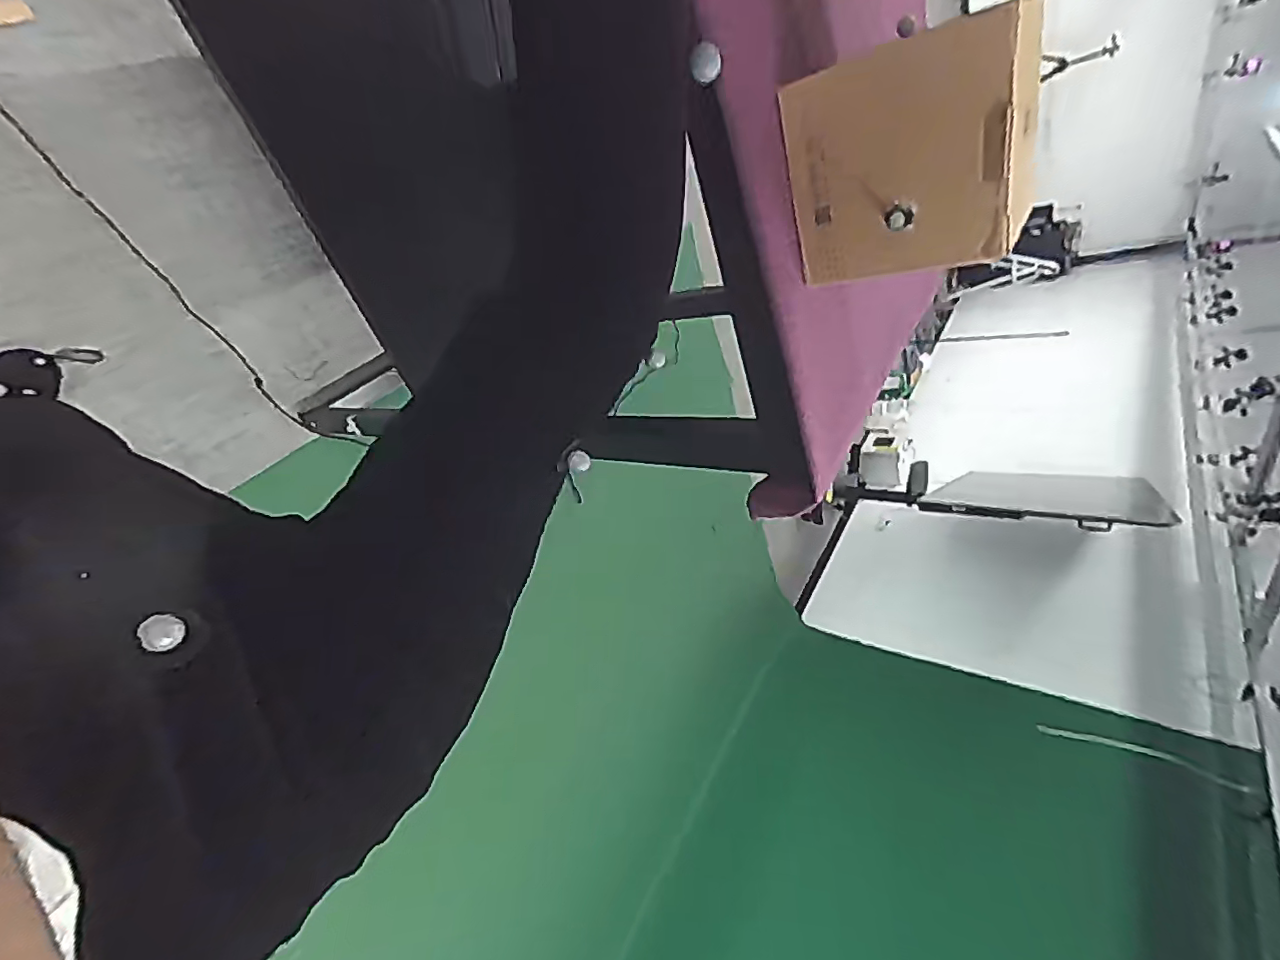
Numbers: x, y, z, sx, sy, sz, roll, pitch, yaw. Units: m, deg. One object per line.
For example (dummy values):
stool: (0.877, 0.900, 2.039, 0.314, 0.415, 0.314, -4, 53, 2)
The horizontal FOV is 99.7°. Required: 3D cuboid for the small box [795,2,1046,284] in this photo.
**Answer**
small box: (0.248, -0.288, 0.485, 0.179, 0.176, 0.168, -44, 128, -39)
